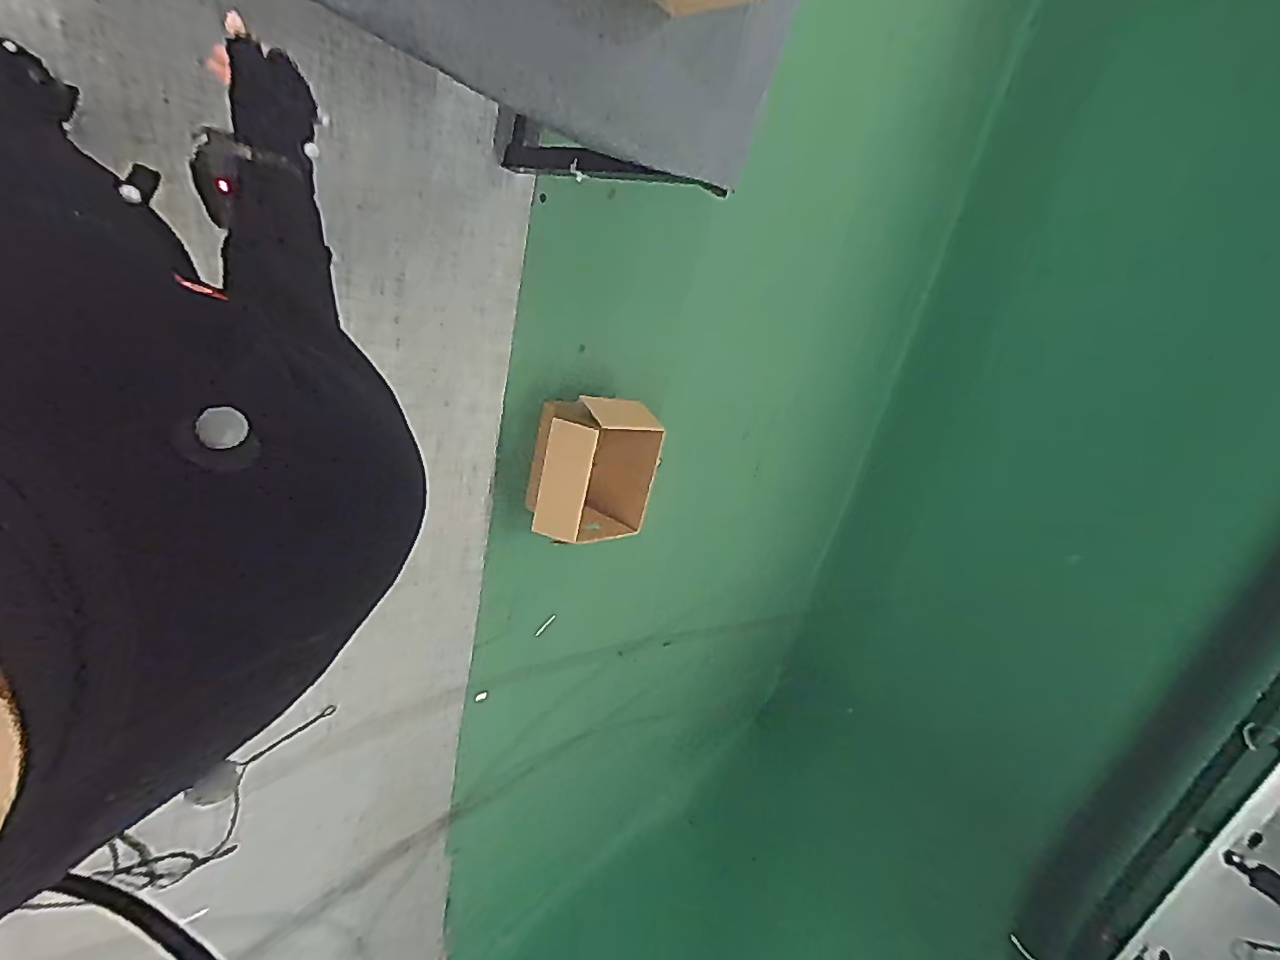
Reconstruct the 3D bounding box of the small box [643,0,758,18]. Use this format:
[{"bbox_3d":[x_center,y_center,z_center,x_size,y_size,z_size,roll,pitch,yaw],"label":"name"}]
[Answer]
[{"bbox_3d":[0.064,-0.741,0.689,0.168,0.176,0.179,-6,117,-45],"label":"small box"}]
